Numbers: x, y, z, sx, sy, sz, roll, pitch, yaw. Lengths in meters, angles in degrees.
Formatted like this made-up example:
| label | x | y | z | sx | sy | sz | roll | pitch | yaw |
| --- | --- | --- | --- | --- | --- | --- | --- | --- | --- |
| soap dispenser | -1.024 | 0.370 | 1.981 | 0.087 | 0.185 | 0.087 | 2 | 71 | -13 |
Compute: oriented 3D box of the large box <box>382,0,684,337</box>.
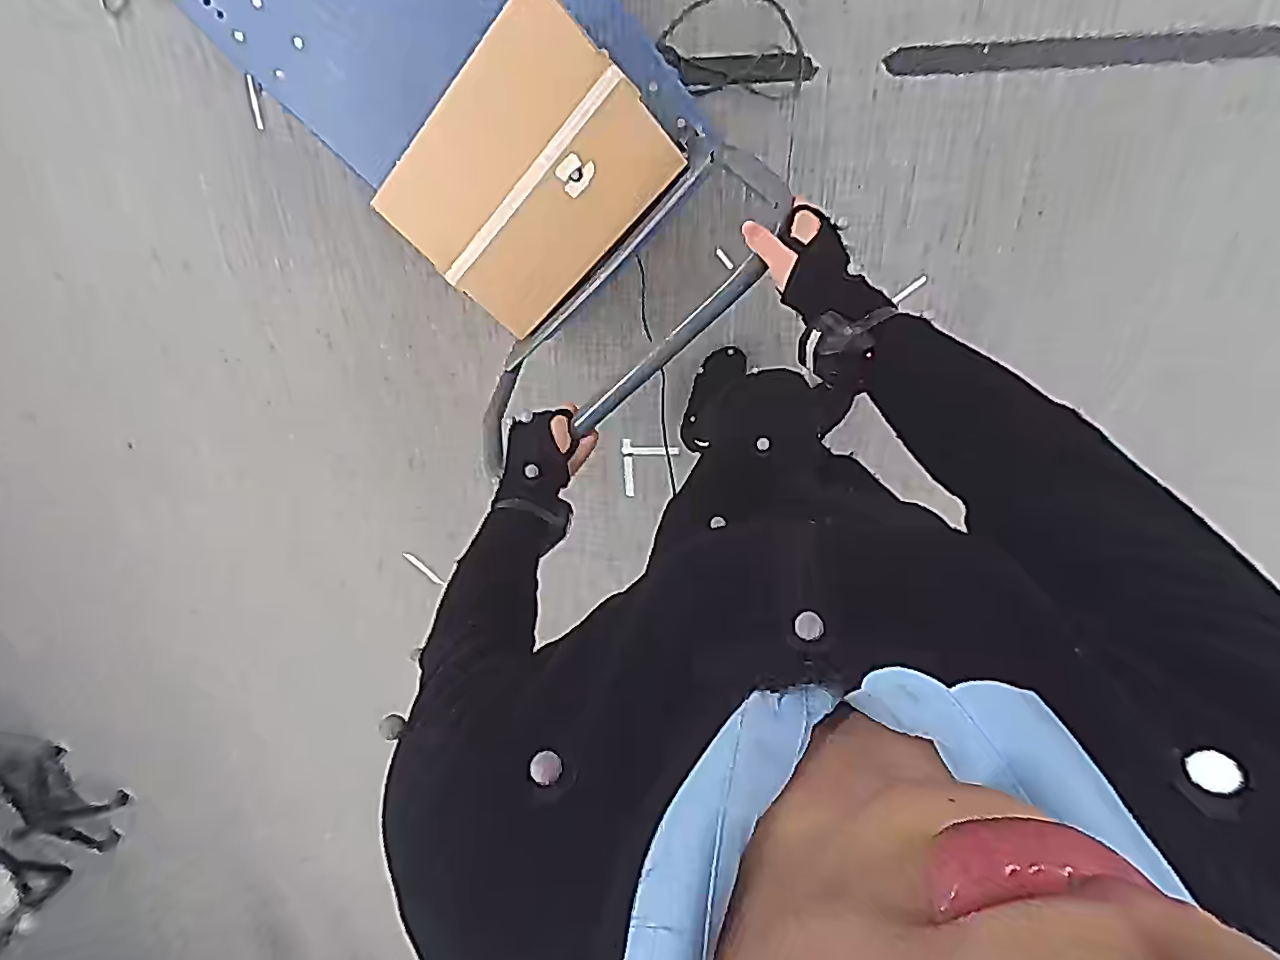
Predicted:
| label | x | y | z | sx | sy | sz | roll | pitch | yaw |
| --- | --- | --- | --- | --- | --- | --- | --- | --- | --- |
| large box | -0.174 | -0.542 | 0.977 | 0.408 | 0.320 | 0.320 | -40 | 114 | 21 |
